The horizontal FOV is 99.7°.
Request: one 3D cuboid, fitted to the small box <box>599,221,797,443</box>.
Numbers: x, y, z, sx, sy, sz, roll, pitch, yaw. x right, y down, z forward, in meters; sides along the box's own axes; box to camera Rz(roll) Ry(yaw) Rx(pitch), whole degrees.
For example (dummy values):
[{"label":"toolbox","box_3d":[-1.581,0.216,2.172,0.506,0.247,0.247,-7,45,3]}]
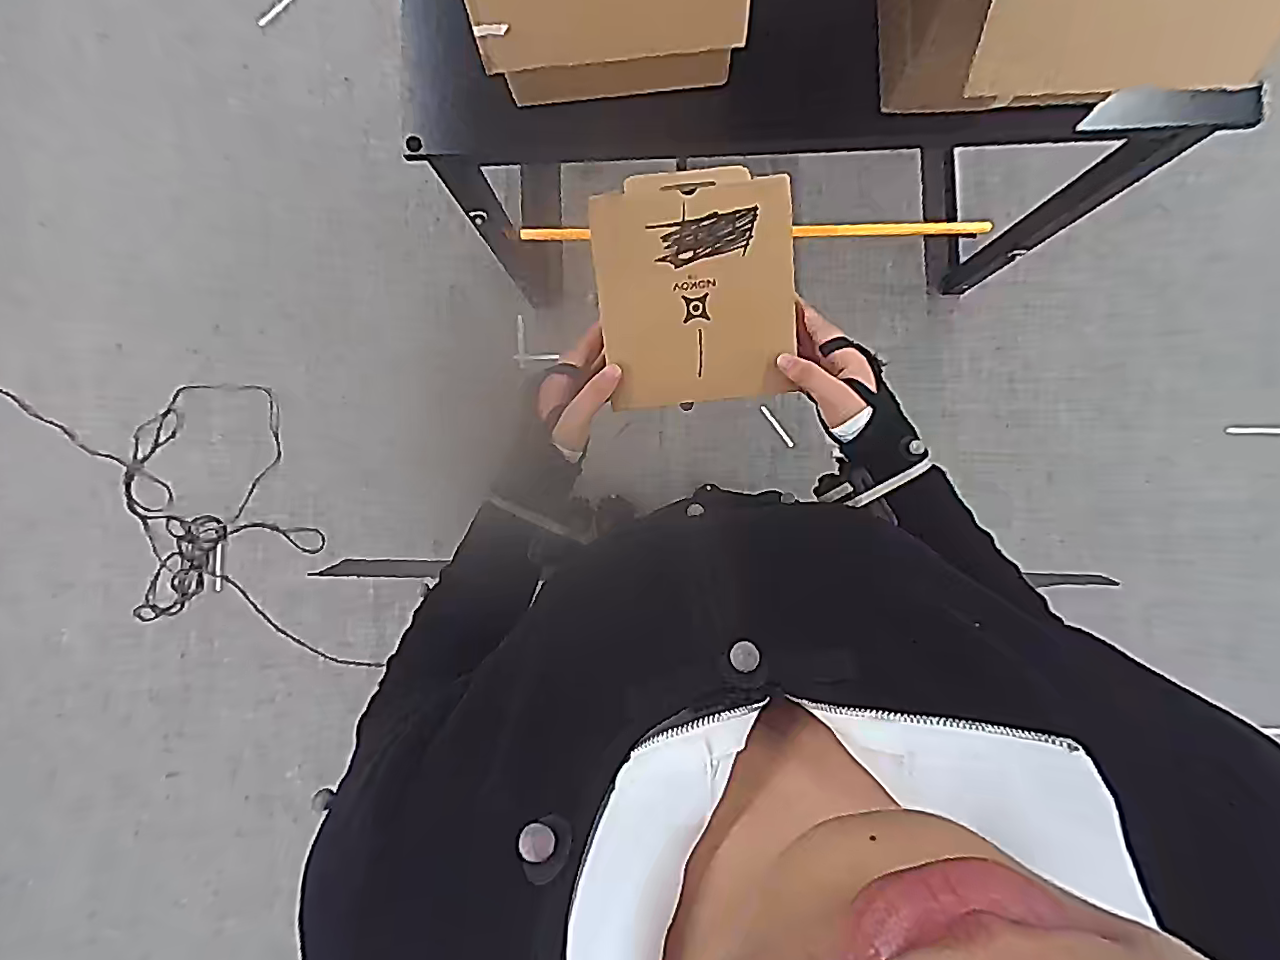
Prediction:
[{"label":"small box","box_3d":[0.050,-0.141,0.544,0.168,0.176,0.179,-6,103,1]}]
